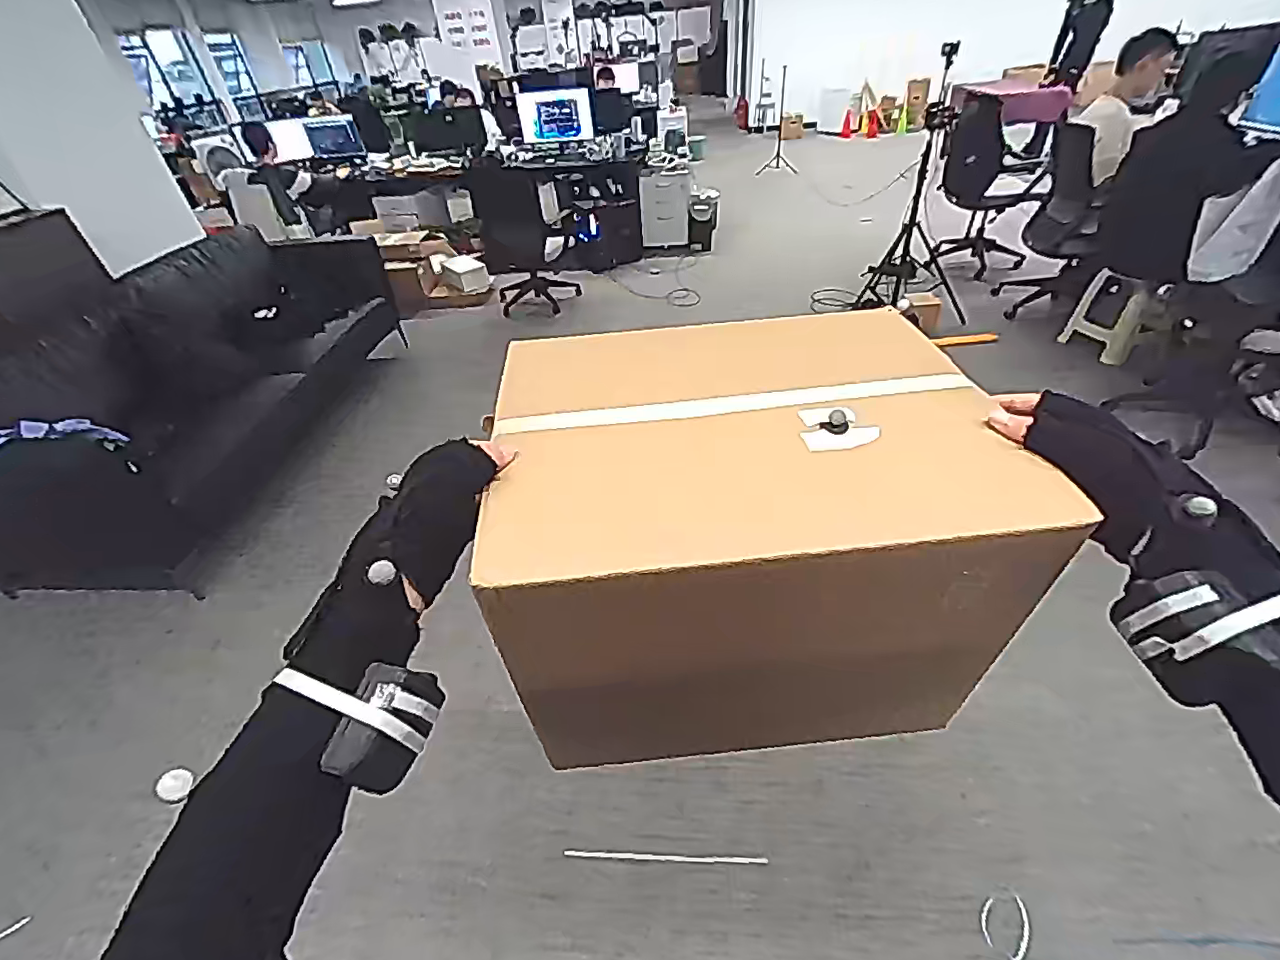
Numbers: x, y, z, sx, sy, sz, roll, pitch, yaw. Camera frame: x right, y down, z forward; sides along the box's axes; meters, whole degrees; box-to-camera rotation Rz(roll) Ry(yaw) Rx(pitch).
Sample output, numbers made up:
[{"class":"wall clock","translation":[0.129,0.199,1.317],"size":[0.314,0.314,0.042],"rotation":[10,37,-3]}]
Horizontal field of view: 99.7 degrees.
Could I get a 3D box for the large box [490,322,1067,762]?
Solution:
[{"class":"large box","translation":[0.088,0.058,0.567],"size":[0.408,0.320,0.320],"rotation":[-5,43,-2]}]
